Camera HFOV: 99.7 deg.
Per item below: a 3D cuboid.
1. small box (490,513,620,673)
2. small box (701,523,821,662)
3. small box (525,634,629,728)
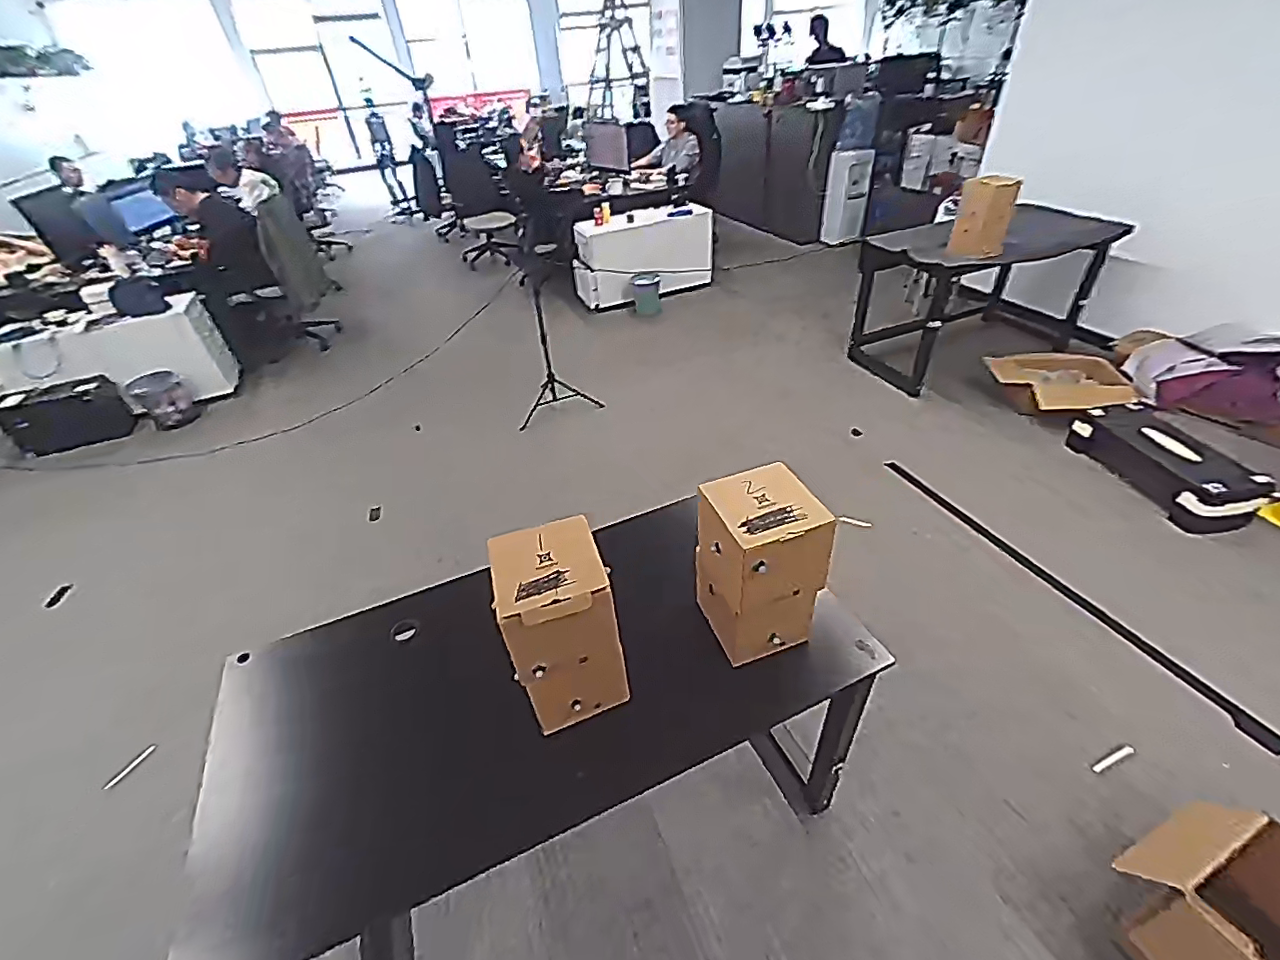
[{"bbox_3d":[-0.135,0.186,0.872,0.168,0.176,0.179,-14,39,-11],"label":"small box"},{"bbox_3d":[0.224,0.217,1.049,0.168,0.176,0.179,-16,40,-11],"label":"small box"},{"bbox_3d":[-0.128,0.309,0.981,0.168,0.176,0.179,-18,41,-15],"label":"small box"}]
